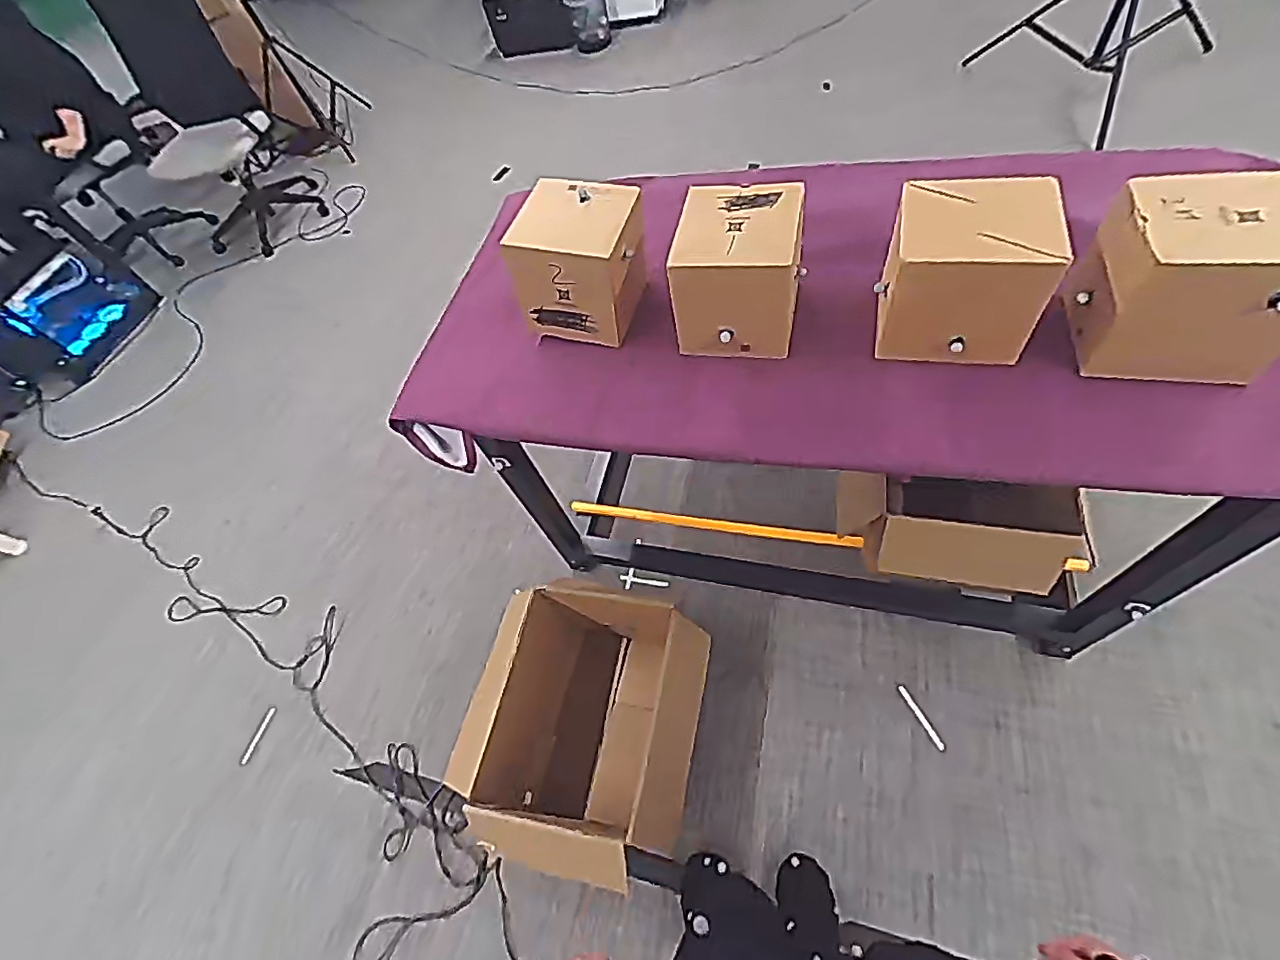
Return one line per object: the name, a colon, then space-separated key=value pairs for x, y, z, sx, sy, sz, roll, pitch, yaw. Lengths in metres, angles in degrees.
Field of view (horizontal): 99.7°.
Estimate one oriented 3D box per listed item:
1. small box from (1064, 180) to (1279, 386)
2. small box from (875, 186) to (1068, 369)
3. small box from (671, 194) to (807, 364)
small box: x=0.657 y=-0.231 z=0.650 sx=0.179 sy=0.176 sz=0.168 roll=7 pitch=58 yaw=17
small box: x=0.427 y=-0.271 z=0.727 sx=0.179 sy=0.176 sz=0.168 roll=7 pitch=59 yaw=18
small box: x=0.152 y=-0.300 z=0.812 sx=0.168 sy=0.176 sz=0.179 roll=6 pitch=60 yaw=17
